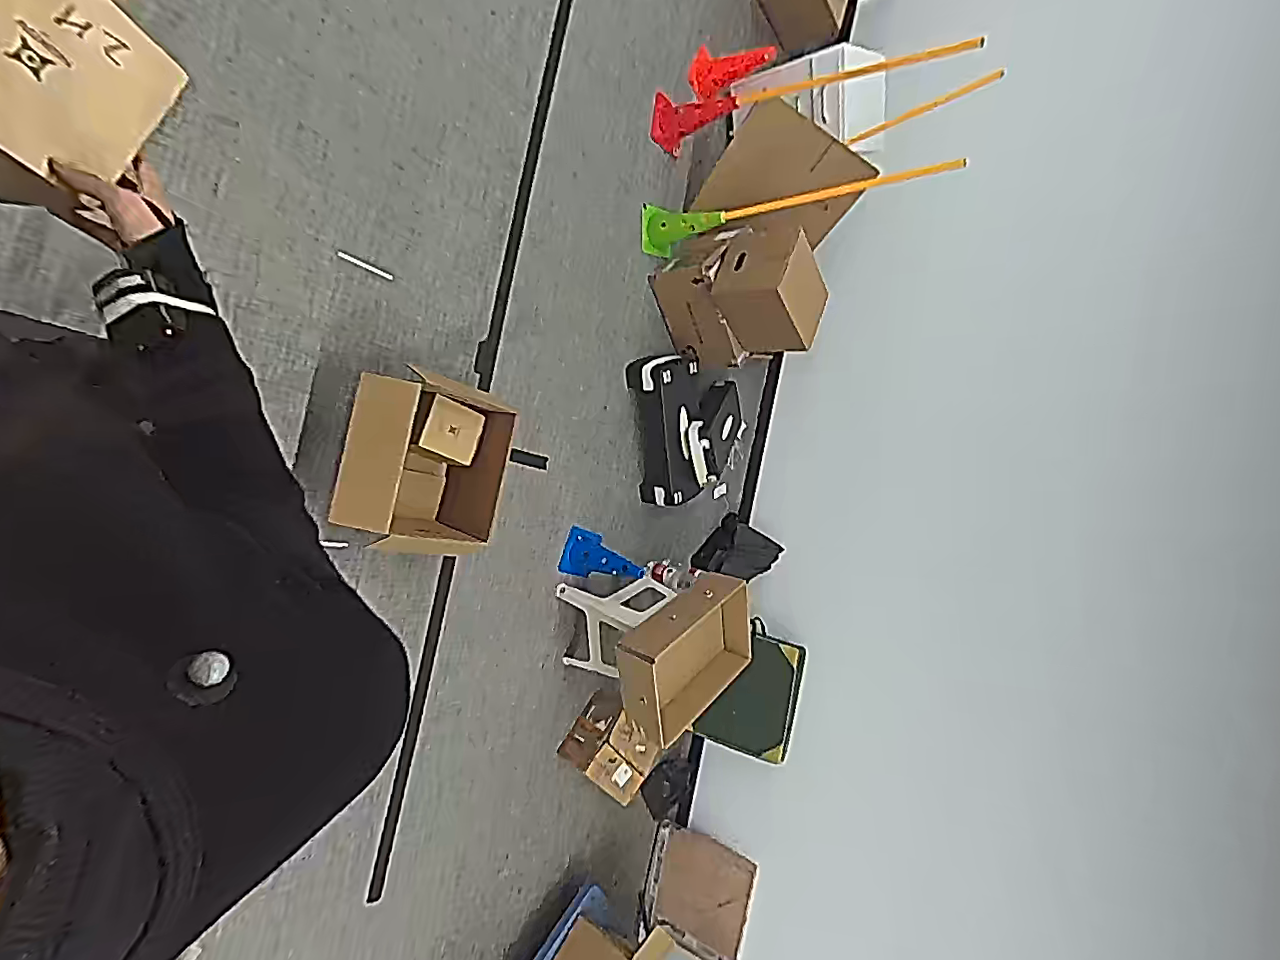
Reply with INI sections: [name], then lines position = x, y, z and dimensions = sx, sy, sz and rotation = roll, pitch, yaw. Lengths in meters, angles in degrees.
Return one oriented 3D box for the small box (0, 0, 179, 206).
[small box]
position = -0.573, -0.368, 0.466
dimensions = 0.168, 0.176, 0.179
rotation = 51, 54, -66
